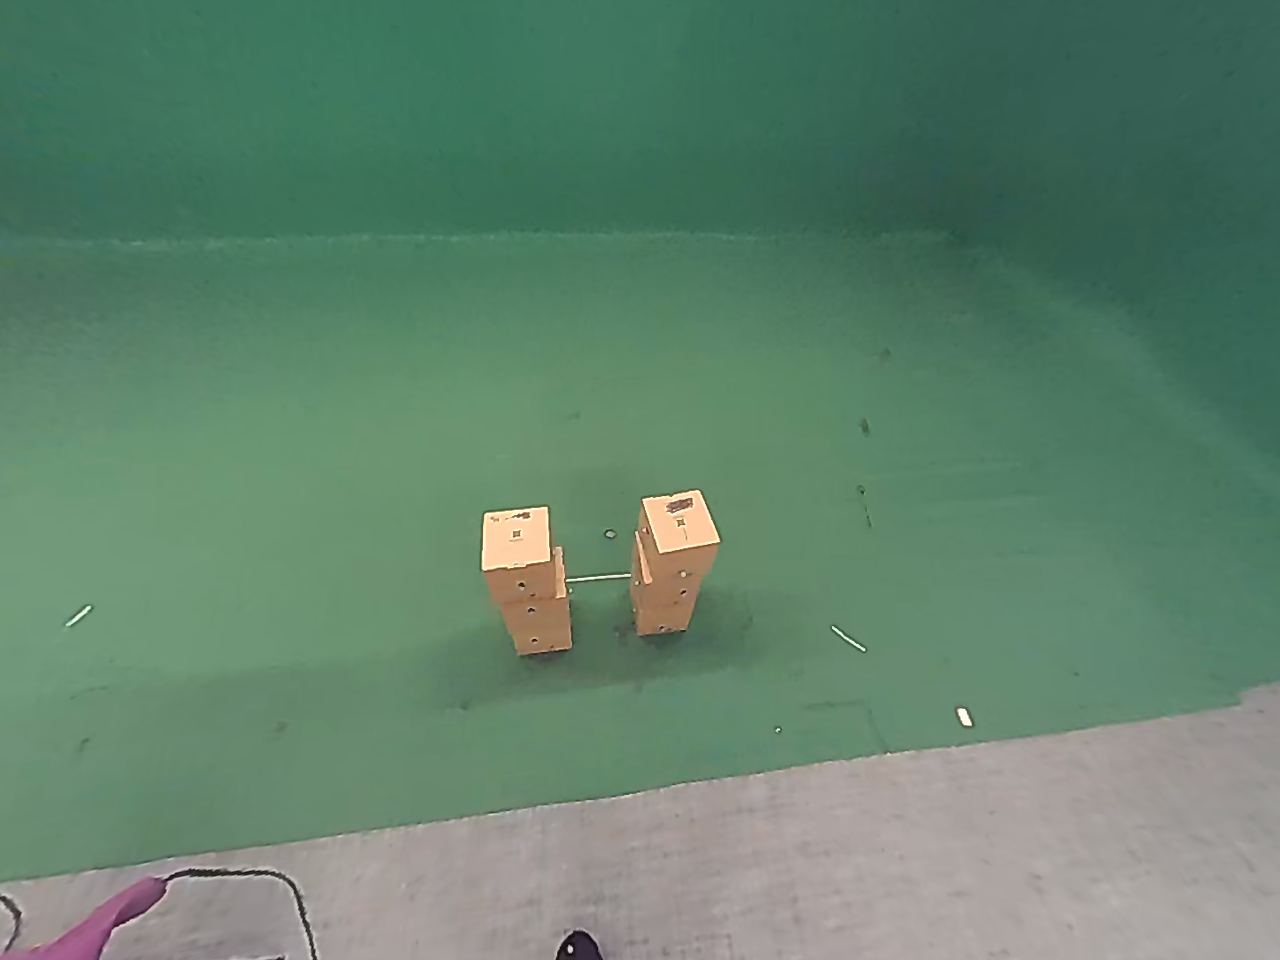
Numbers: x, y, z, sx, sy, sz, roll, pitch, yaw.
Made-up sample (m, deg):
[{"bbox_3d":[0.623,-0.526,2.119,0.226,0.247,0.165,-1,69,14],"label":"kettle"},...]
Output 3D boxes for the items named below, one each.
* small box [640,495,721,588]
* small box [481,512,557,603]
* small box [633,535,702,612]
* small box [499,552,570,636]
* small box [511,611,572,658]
[{"bbox_3d":[0.100,0.167,1.461,0.168,0.176,0.179,-9,53,-12],"label":"small box"},{"bbox_3d":[-0.308,0.206,1.401,0.168,0.176,0.179,-5,50,-7],"label":"small box"},{"bbox_3d":[0.075,0.273,1.584,0.168,0.176,0.179,-4,50,-9],"label":"small box"},{"bbox_3d":[-0.294,0.323,1.518,0.179,0.176,0.168,-6,50,-8],"label":"small box"},{"bbox_3d":[-0.298,0.427,1.646,0.168,0.176,0.179,-6,49,-8],"label":"small box"}]
